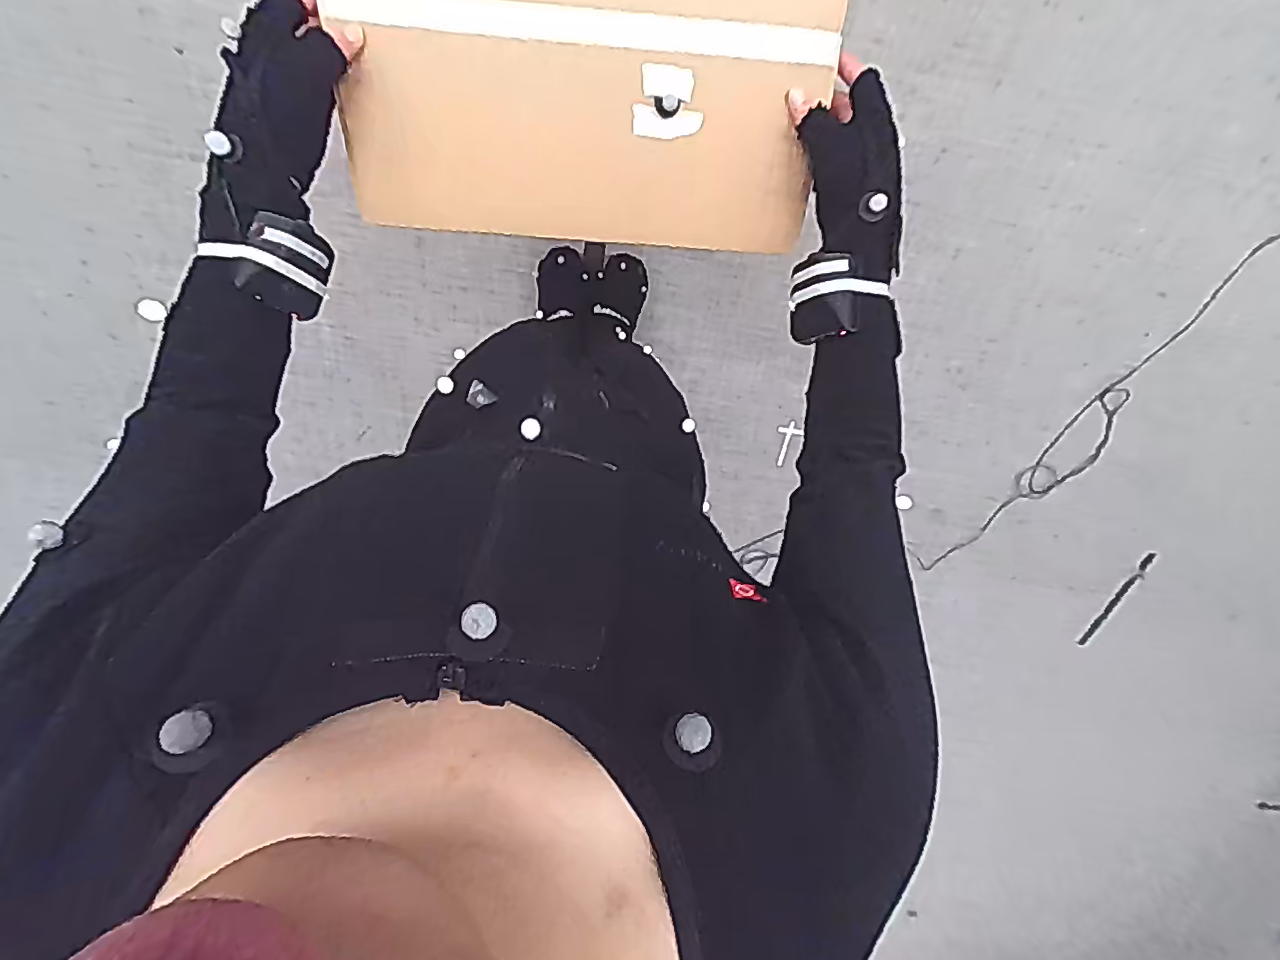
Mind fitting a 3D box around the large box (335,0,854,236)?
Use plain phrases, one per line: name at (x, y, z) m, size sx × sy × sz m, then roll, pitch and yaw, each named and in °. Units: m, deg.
large box at (-0.042, -0.443, 0.540) m, size 0.408 × 0.320 × 0.320 m, roll 1°, pitch 125°, yaw -5°
